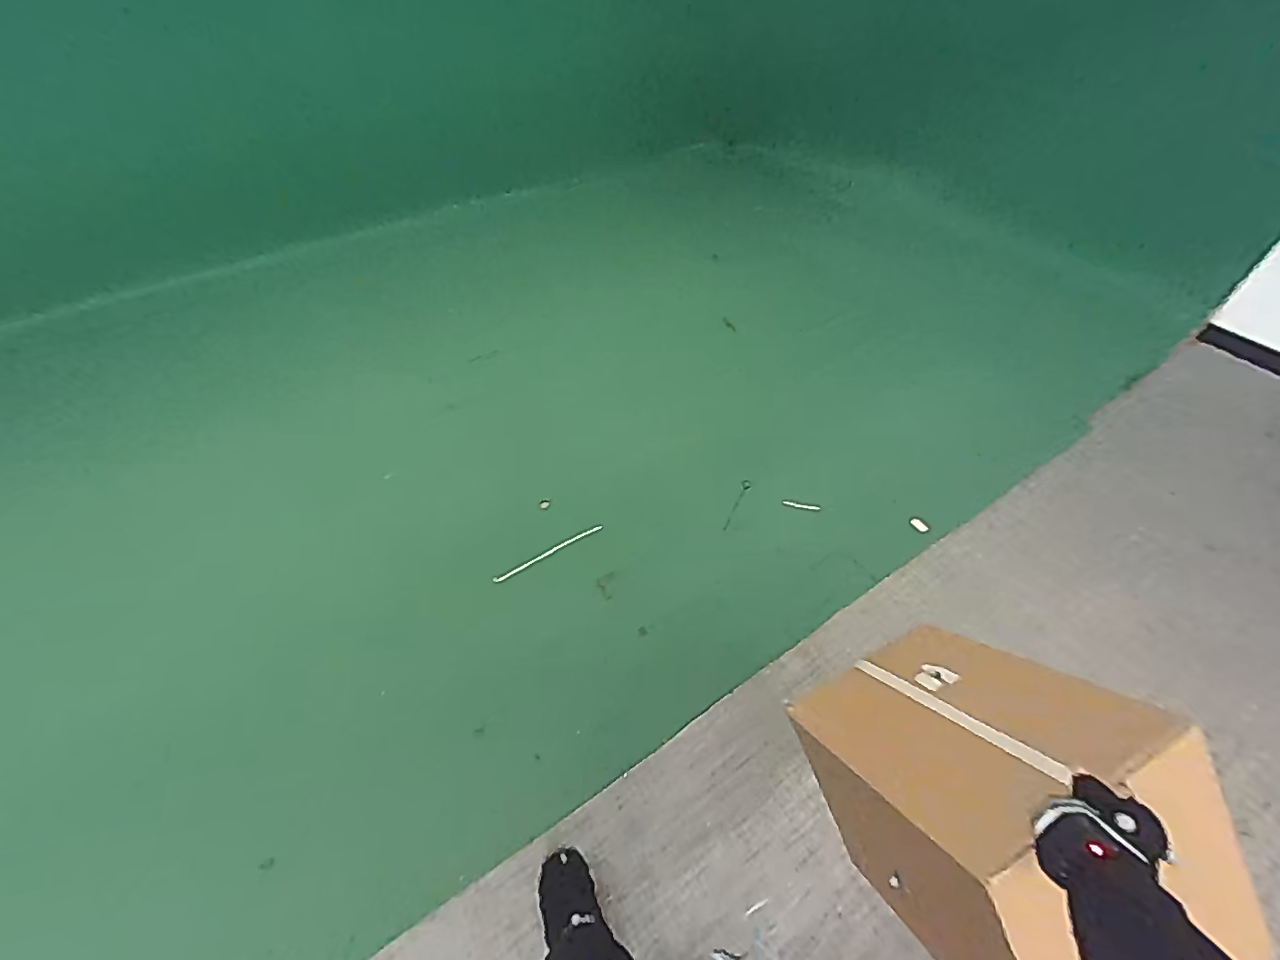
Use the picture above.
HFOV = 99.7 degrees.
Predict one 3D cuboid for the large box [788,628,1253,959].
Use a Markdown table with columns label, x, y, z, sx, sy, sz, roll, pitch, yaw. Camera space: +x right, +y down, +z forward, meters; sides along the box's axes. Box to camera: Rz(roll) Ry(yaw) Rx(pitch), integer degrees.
| label | x | y | z | sx | sy | sz | roll | pitch | yaw |
| --- | --- | --- | --- | --- | --- | --- | --- | --- | --- |
| large box | 0.496 | 0.471 | 0.786 | 0.320 | 0.408 | 0.320 | -25 | 95 | -12 |
